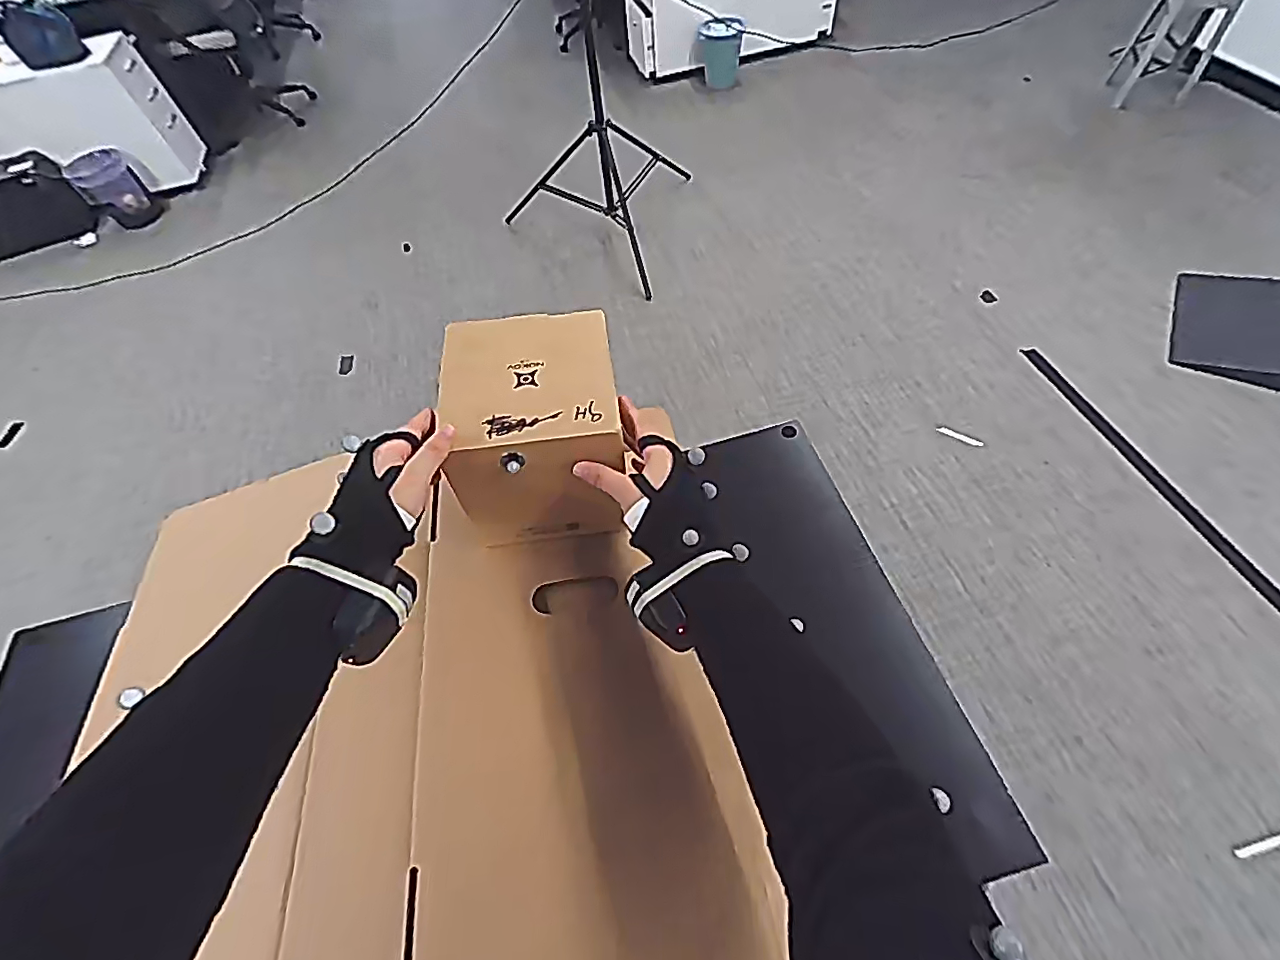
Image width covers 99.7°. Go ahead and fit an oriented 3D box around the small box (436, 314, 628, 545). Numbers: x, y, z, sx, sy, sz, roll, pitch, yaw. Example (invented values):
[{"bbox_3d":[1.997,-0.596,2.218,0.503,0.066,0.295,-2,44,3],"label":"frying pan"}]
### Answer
[{"bbox_3d":[-0.104,-0.052,0.583,0.168,0.176,0.179,-7,54,-3],"label":"small box"}]
